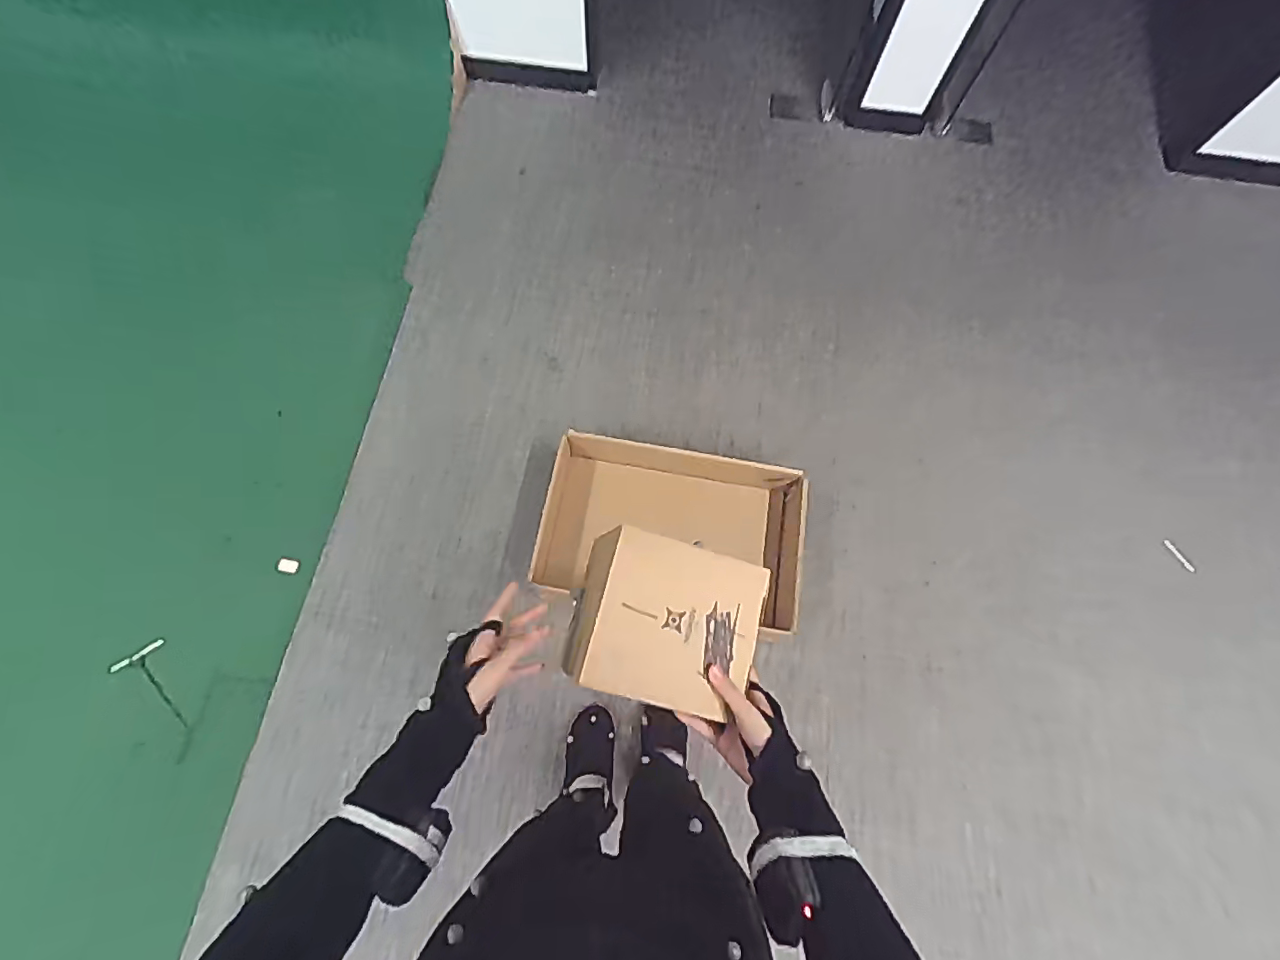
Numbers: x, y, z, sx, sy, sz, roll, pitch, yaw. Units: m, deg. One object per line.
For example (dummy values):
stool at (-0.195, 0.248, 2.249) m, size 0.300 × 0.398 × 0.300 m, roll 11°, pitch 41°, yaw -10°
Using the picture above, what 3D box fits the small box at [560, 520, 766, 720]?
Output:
small box at (0.018, 0.159, 0.633) m, size 0.179 × 0.176 × 0.168 m, roll 19°, pitch 74°, yaw -9°
